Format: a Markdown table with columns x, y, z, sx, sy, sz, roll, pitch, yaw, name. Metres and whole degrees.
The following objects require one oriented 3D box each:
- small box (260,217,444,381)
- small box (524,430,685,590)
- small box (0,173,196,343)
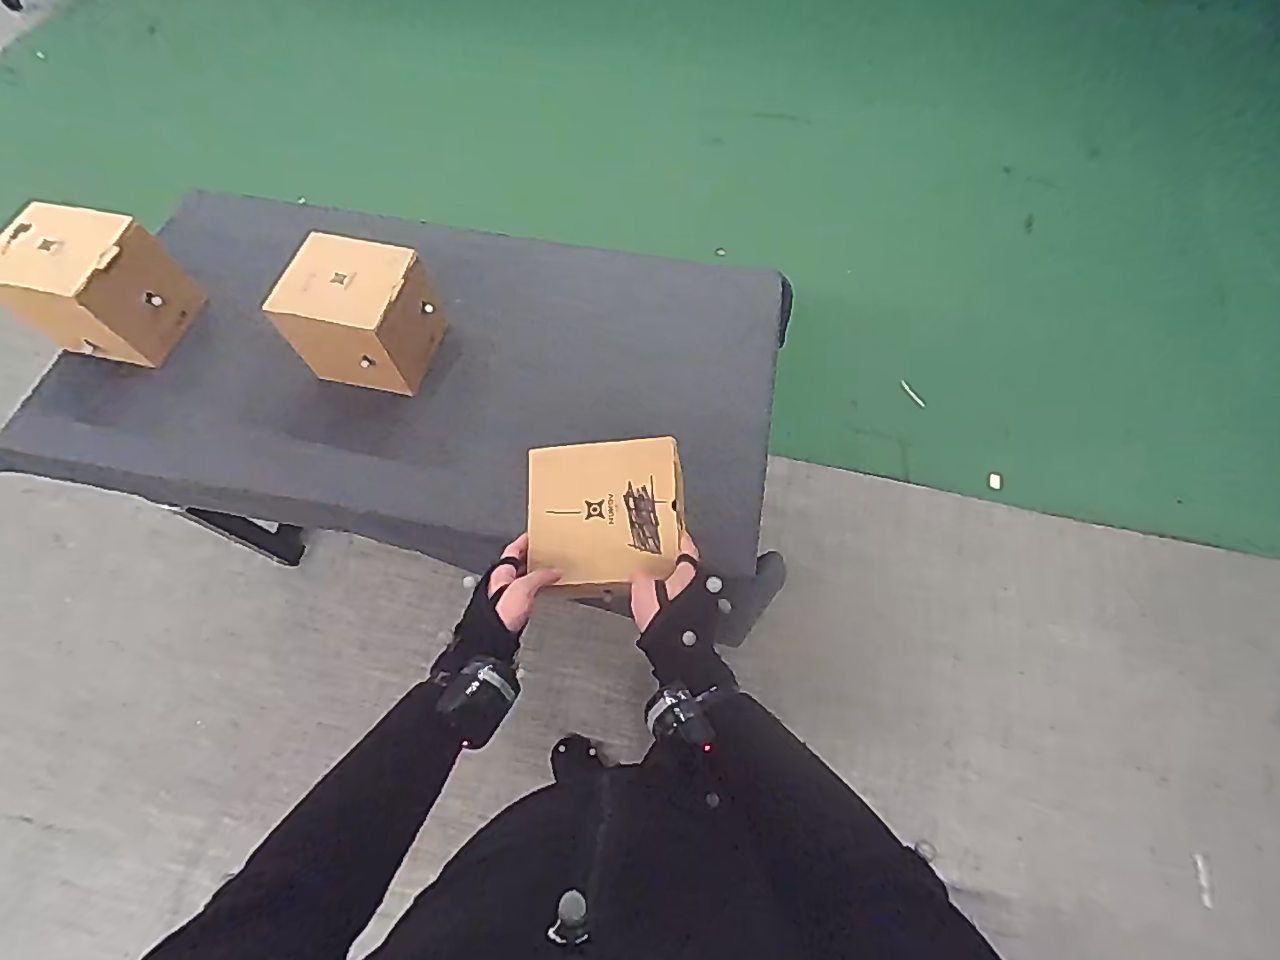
| x | y | z | sx | sy | sz | roll | pitch | yaw | name |
| --- | --- | --- | --- | --- | --- | --- | --- | --- | --- |
| -0.437 | -0.279 | 0.859 | 0.179 | 0.176 | 0.168 | 12 | 63 | 3 | small box |
| -0.033 | 0.046 | 0.679 | 0.179 | 0.176 | 0.168 | -3 | 72 | 5 | small box |
| -0.872 | -0.341 | 0.856 | 0.179 | 0.176 | 0.168 | 13 | 64 | 1 | small box |
